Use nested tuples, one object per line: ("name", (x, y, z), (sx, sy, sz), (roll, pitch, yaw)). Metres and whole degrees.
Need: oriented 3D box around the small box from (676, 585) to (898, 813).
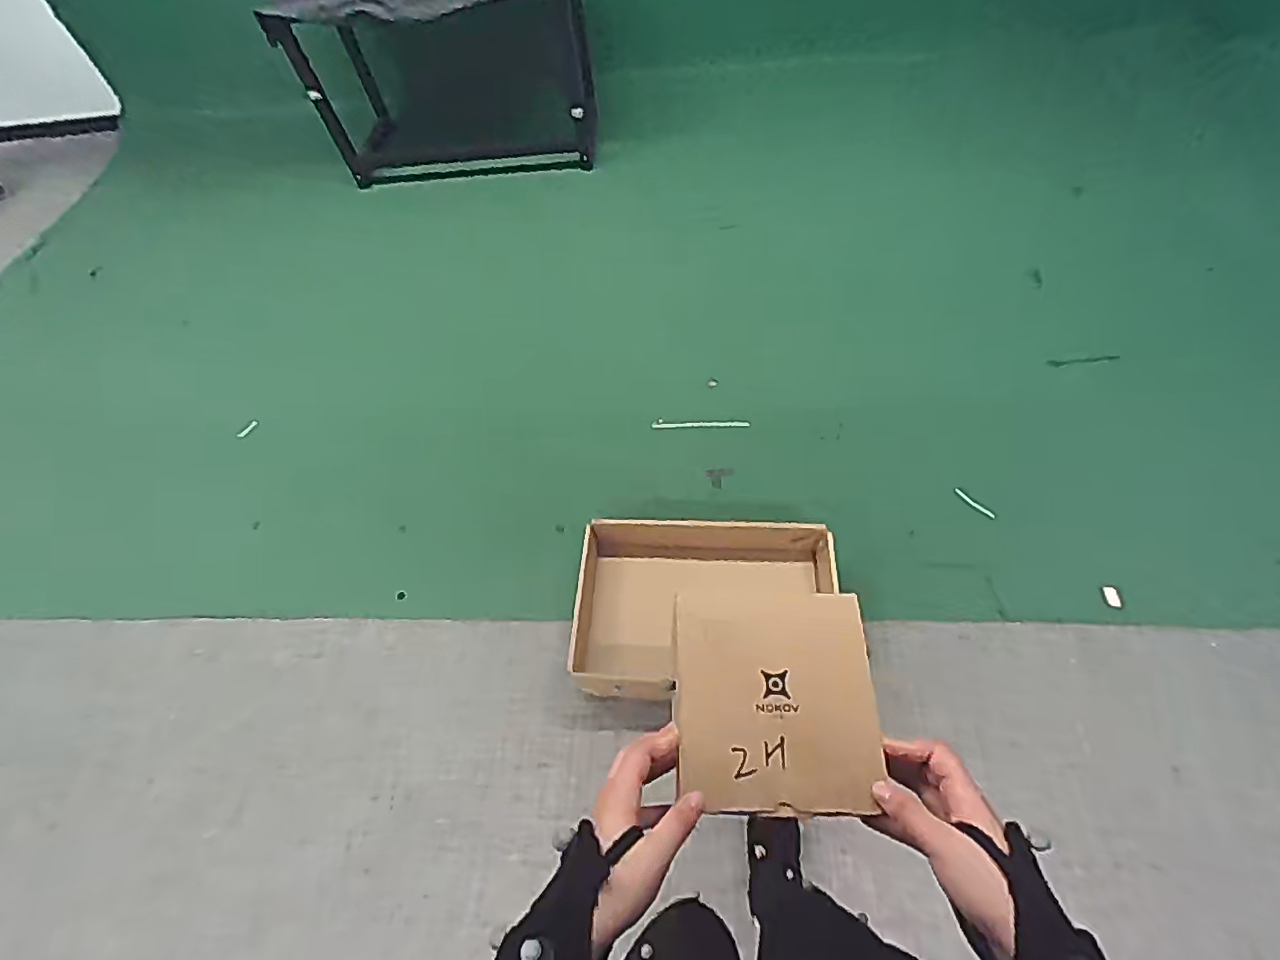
("small box", (0.120, 0.210, 0.522), (0.168, 0.176, 0.179), (0, 64, 2))
